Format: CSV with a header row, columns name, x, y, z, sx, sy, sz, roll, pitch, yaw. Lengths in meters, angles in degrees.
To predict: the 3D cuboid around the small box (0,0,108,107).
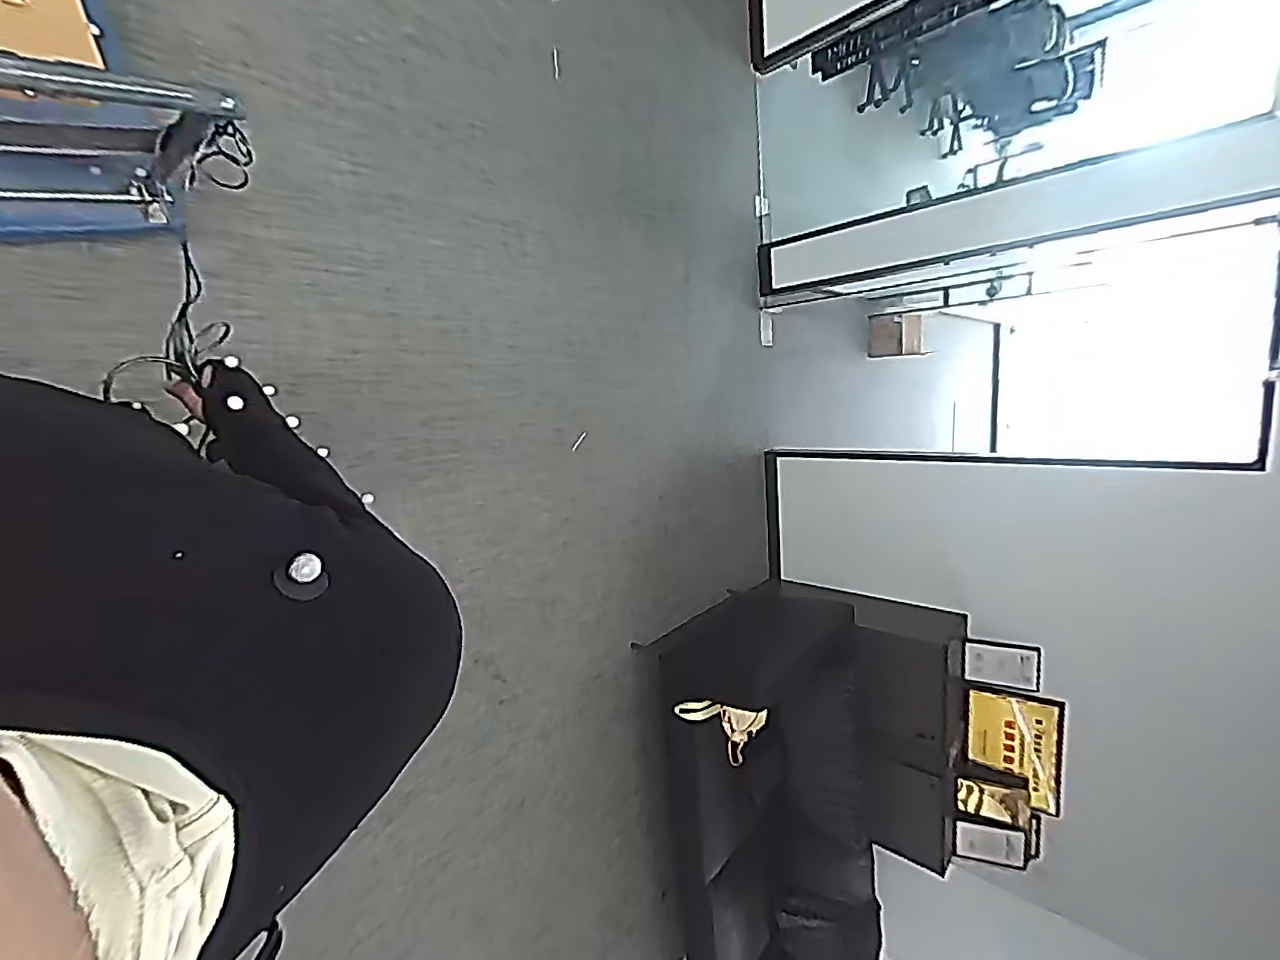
name,x,y,z,sx,sy,sz,roll,pitch,yaw
small box,-1.037,-0.764,0.901,0.168,0.176,0.179,-25,112,-44
